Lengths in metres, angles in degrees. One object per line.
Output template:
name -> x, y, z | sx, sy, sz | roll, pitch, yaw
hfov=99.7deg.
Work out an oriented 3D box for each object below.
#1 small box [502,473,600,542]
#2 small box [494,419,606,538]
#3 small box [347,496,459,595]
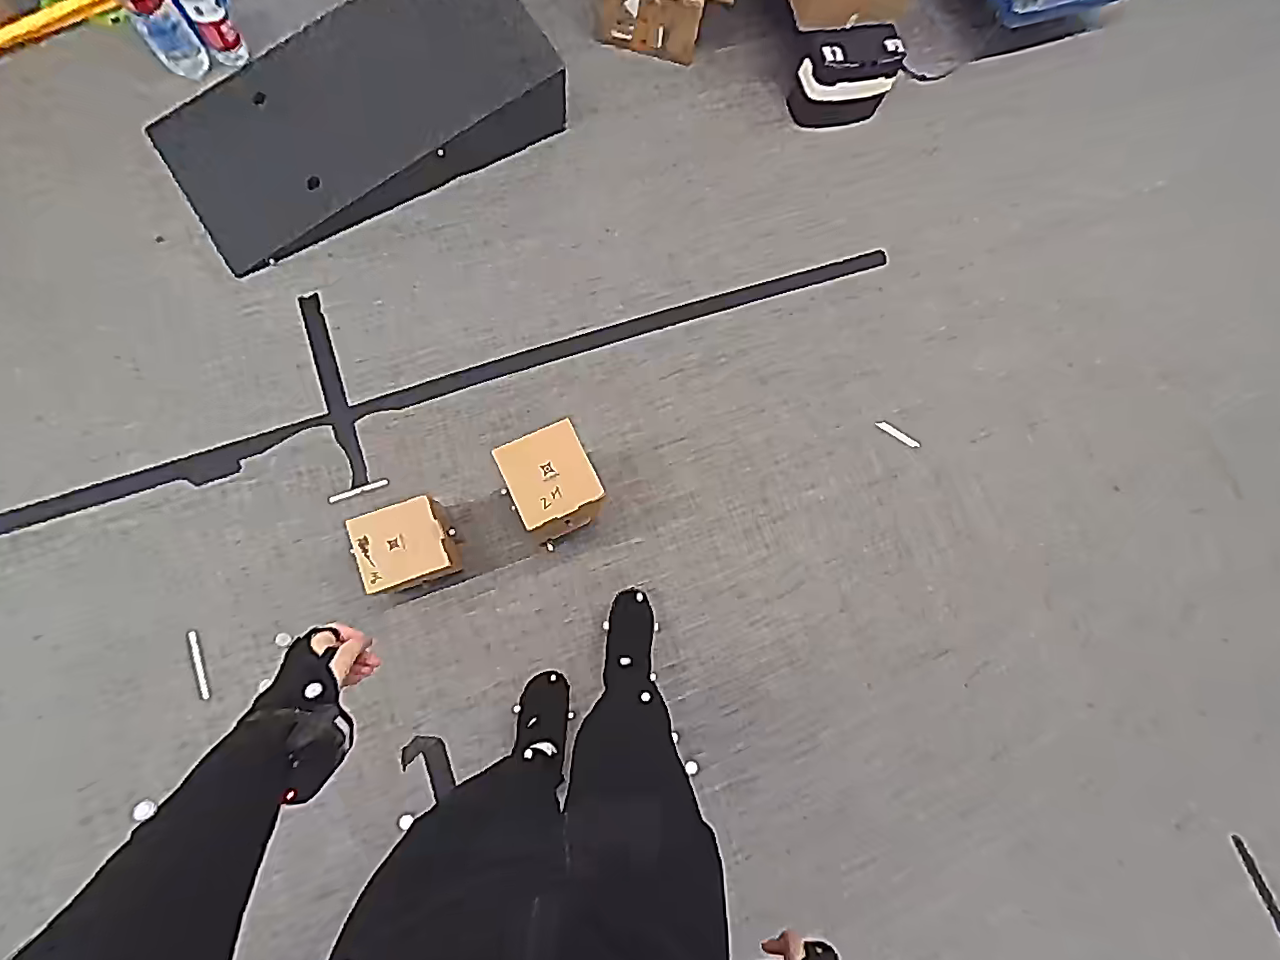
small box -> -0.205, 0.037, 1.269 | 0.168, 0.176, 0.179 | -25, 82, -12
small box -> -0.183, 0.004, 1.109 | 0.168, 0.176, 0.179 | -24, 83, -11
small box -> -0.515, 0.149, 1.204 | 0.179, 0.176, 0.168 | -19, 81, -12
